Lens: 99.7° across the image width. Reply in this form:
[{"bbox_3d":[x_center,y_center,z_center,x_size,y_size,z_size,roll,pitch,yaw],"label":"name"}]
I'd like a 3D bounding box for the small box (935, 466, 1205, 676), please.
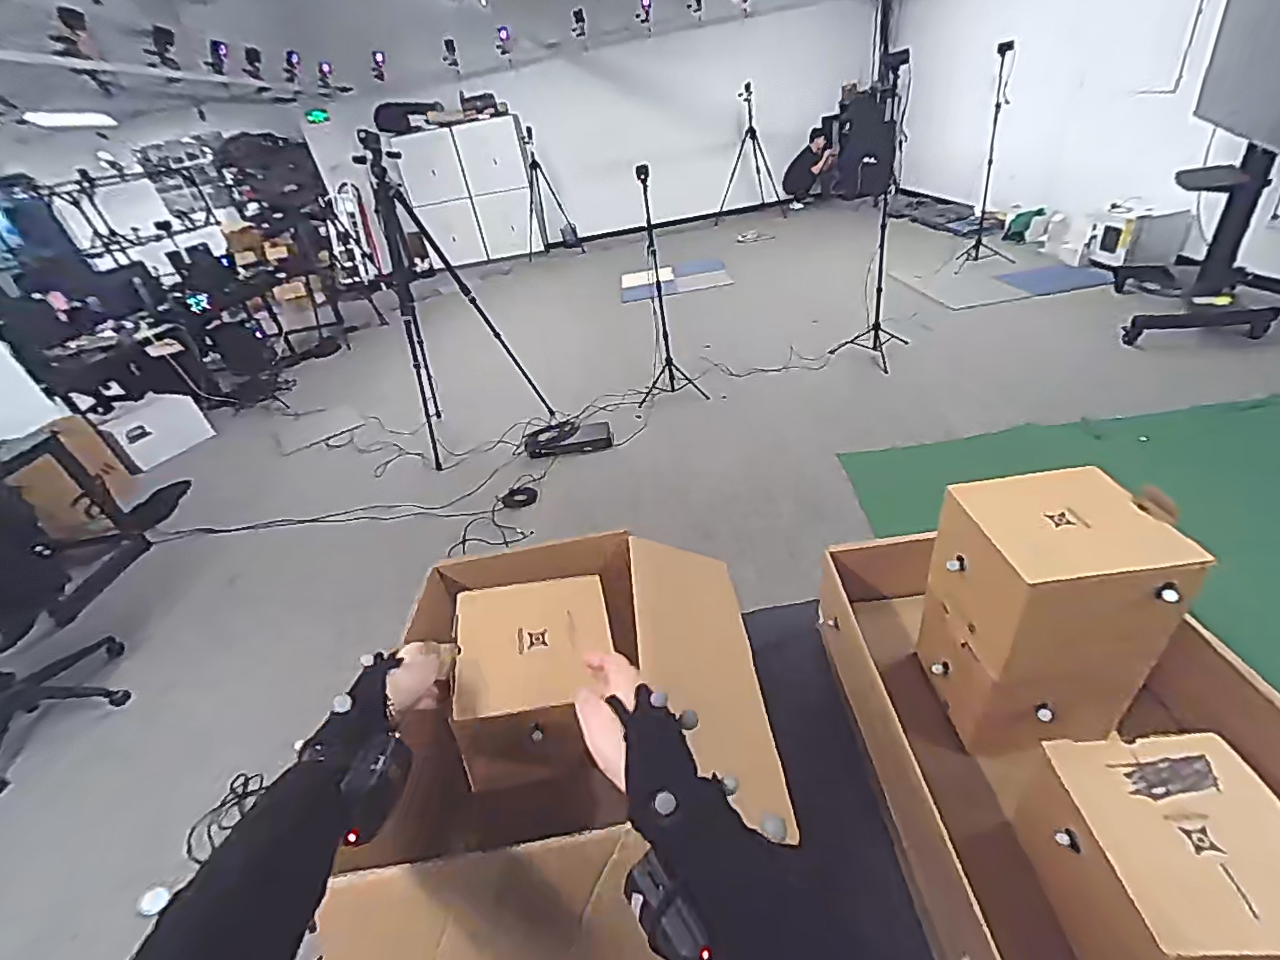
[{"bbox_3d":[0.468,0.107,0.630,0.179,0.176,0.168,-8,35,4],"label":"small box"}]
